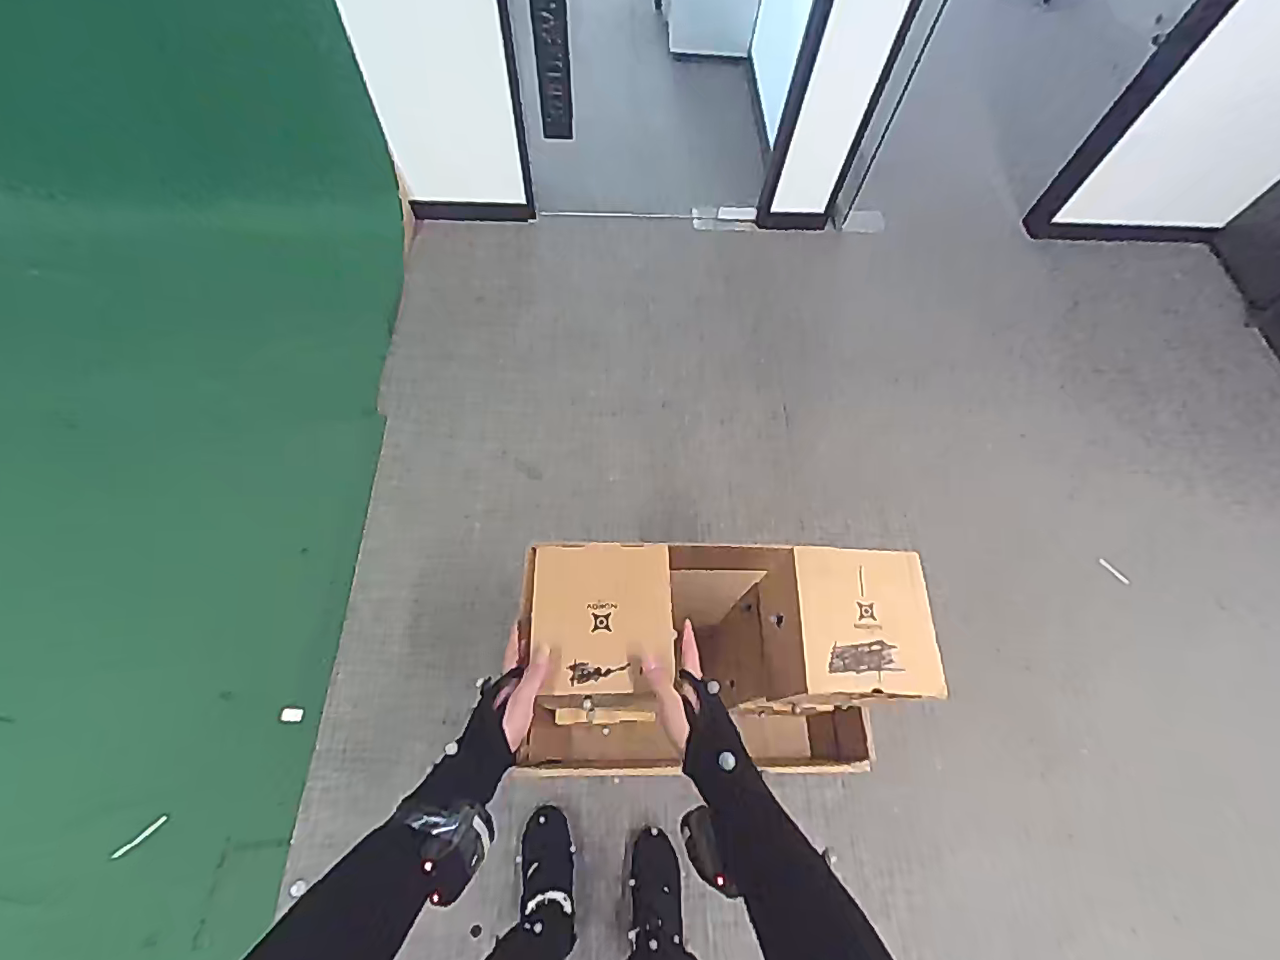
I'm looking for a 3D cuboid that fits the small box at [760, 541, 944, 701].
[{"bbox_3d":[0.265,0.194,0.720,0.168,0.176,0.179,4,64,-3],"label":"small box"}]

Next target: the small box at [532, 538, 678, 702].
[{"bbox_3d":[-0.044,0.188,0.706,0.168,0.176,0.179,0,63,-3],"label":"small box"}]
